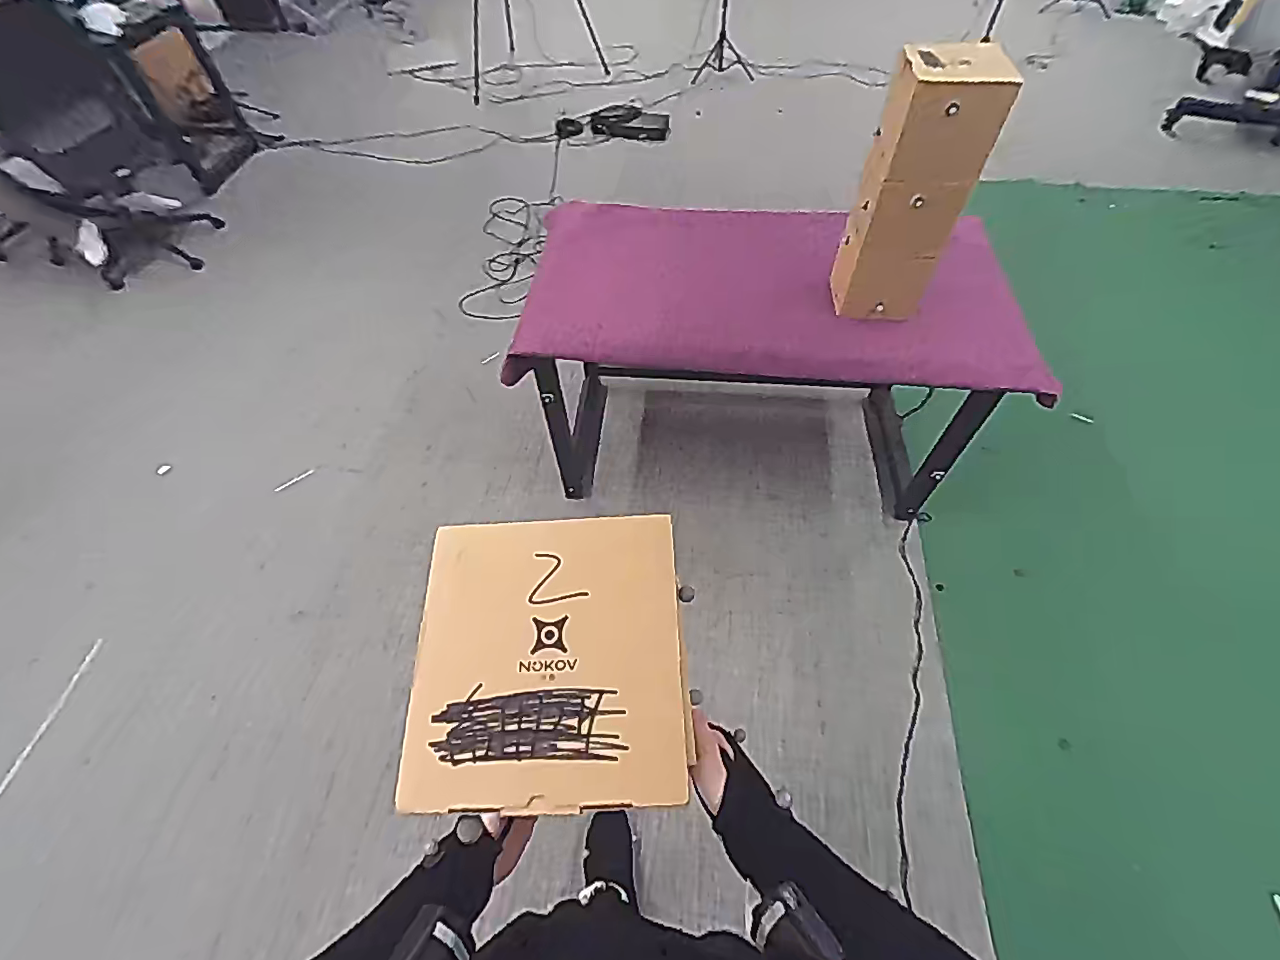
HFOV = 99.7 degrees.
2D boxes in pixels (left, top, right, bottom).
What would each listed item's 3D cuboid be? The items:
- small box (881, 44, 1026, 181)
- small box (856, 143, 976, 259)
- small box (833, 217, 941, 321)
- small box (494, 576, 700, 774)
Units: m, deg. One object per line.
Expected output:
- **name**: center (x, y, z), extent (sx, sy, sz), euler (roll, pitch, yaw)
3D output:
- **small box**: center (0.569, -0.684, 1.015), extent (0.179, 0.176, 0.168), euler (4, 57, 5)
- **small box**: center (0.571, -0.591, 1.149), extent (0.179, 0.176, 0.168), euler (5, 57, 5)
- **small box**: center (0.575, -0.497, 1.284), extent (0.179, 0.176, 0.168), euler (4, 55, 4)
- **small box**: center (-0.036, 0.204, 0.560), extent (0.179, 0.176, 0.168), euler (-4, 63, 2)
